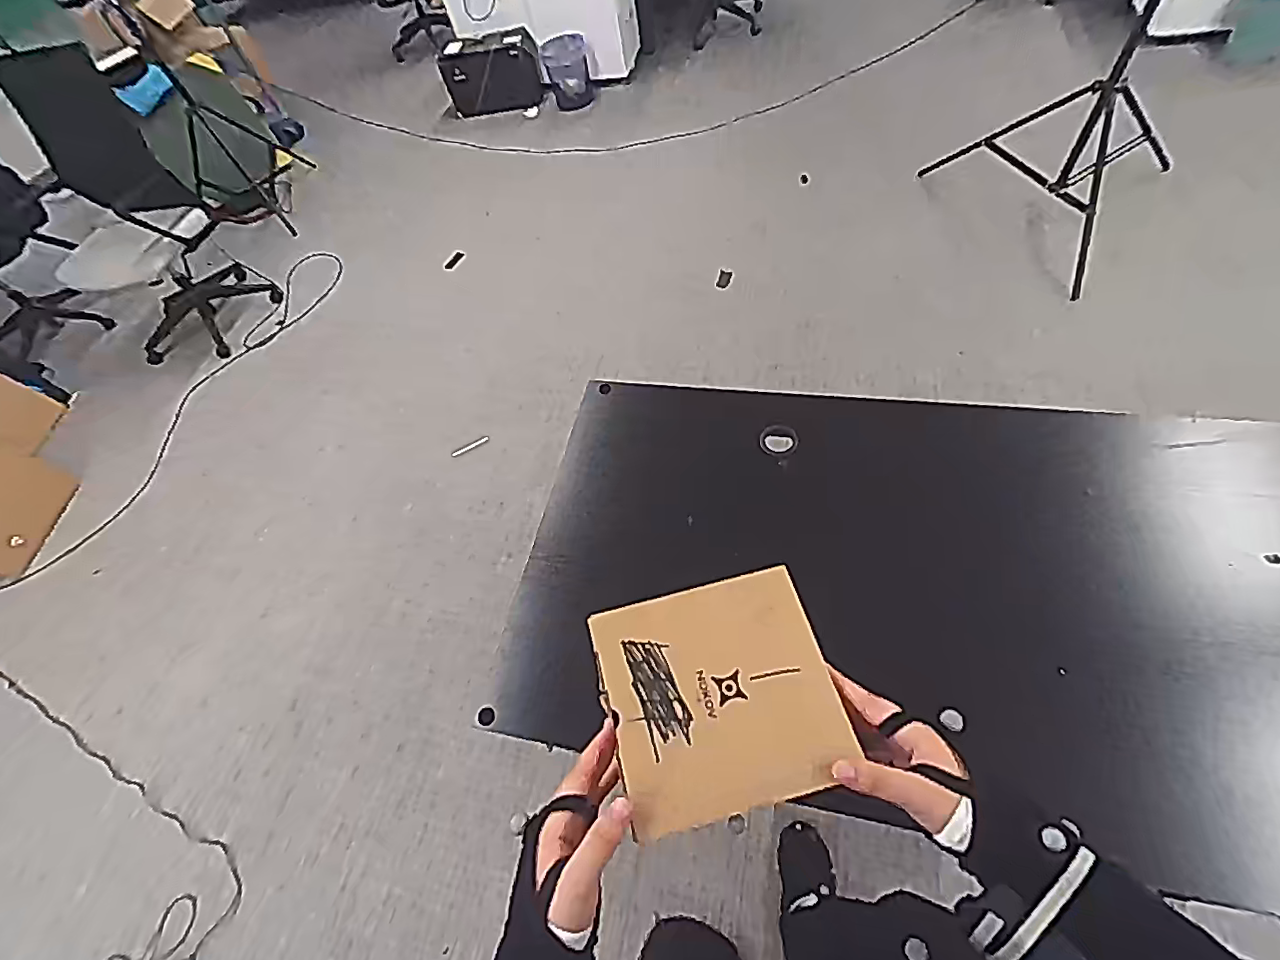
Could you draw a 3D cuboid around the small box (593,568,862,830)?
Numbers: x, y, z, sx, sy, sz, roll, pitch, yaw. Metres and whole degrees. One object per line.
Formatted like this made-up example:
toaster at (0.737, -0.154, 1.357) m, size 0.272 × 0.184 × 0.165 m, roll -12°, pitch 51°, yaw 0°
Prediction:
small box at (0.066, 0.202, 0.494) m, size 0.179 × 0.176 × 0.168 m, roll -13°, pitch 61°, yaw -4°
